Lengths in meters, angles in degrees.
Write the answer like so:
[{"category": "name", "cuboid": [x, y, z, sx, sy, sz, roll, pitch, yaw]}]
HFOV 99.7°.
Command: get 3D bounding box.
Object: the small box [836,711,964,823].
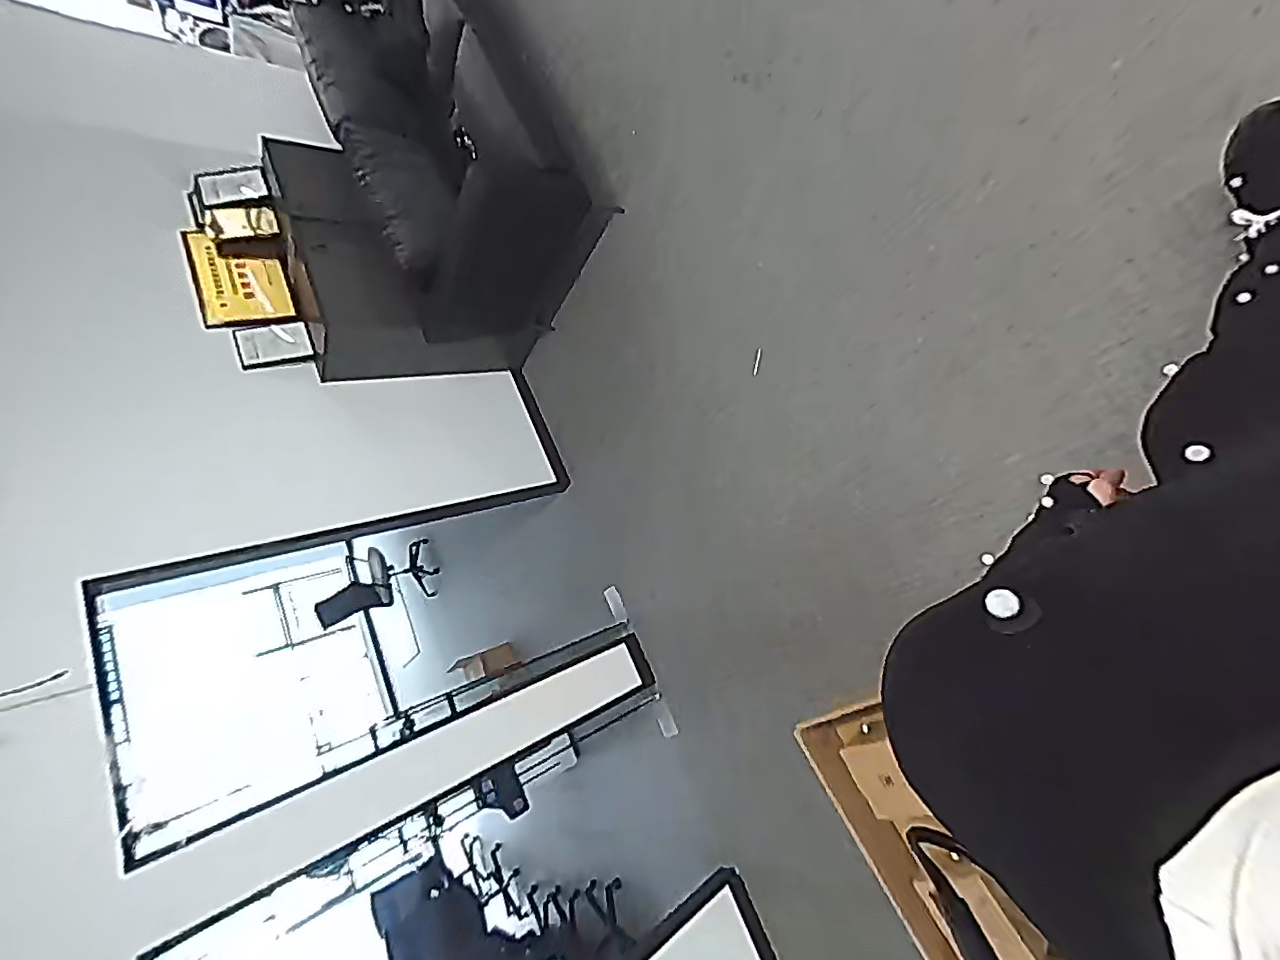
[{"category": "small box", "cuboid": [0.603, 0.663, 1.254, 0.179, 0.176, 0.168, -48, 64, 45]}]
